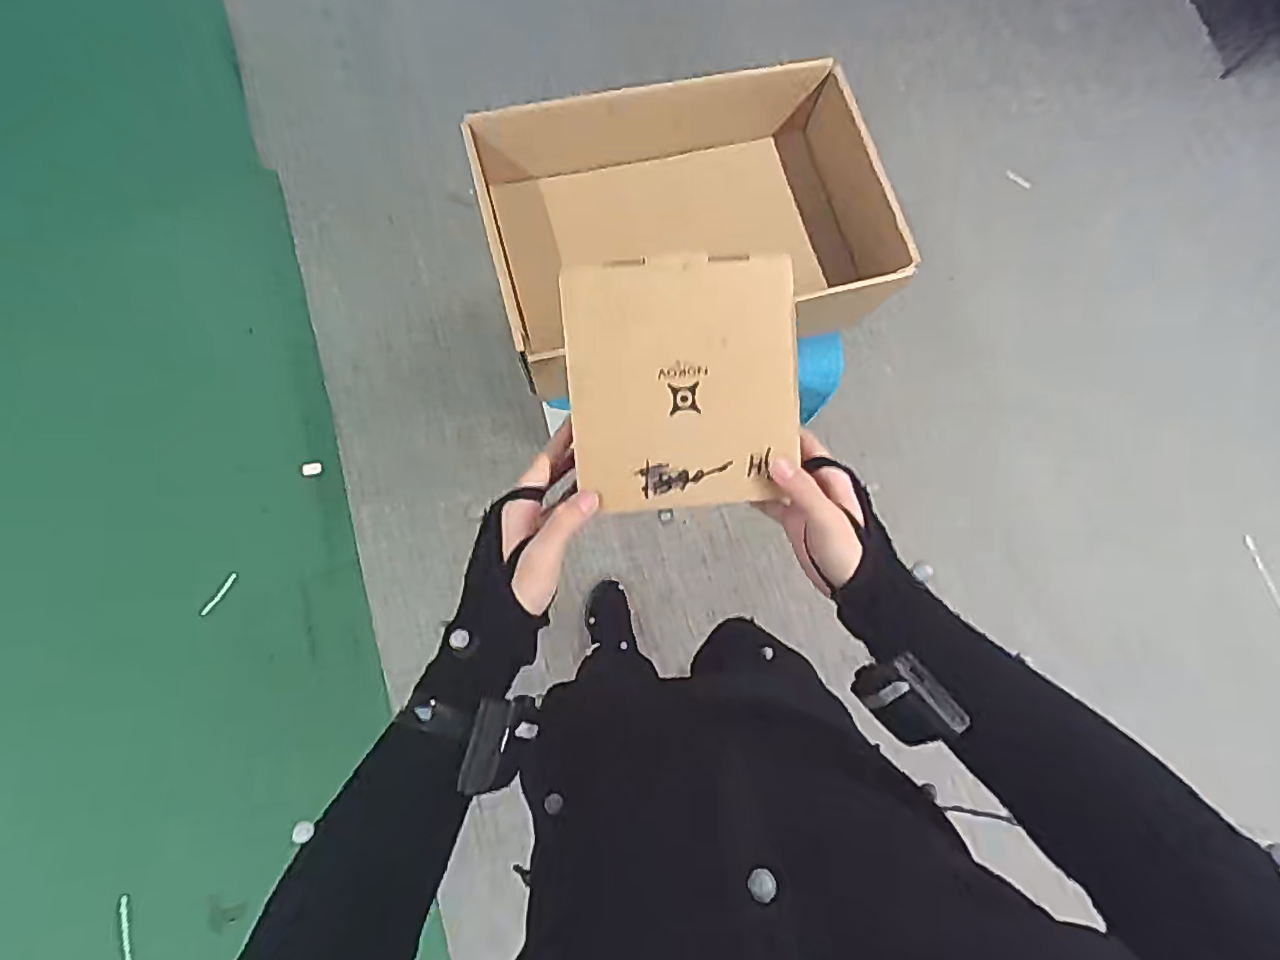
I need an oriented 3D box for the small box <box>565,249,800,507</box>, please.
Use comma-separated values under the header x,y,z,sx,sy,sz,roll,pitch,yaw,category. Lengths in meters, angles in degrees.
x,y,z,sx,sy,sz,roll,pitch,yaw,category
0.026,-0.080,0.464,0.168,0.176,0.179,-5,97,-4,small box
